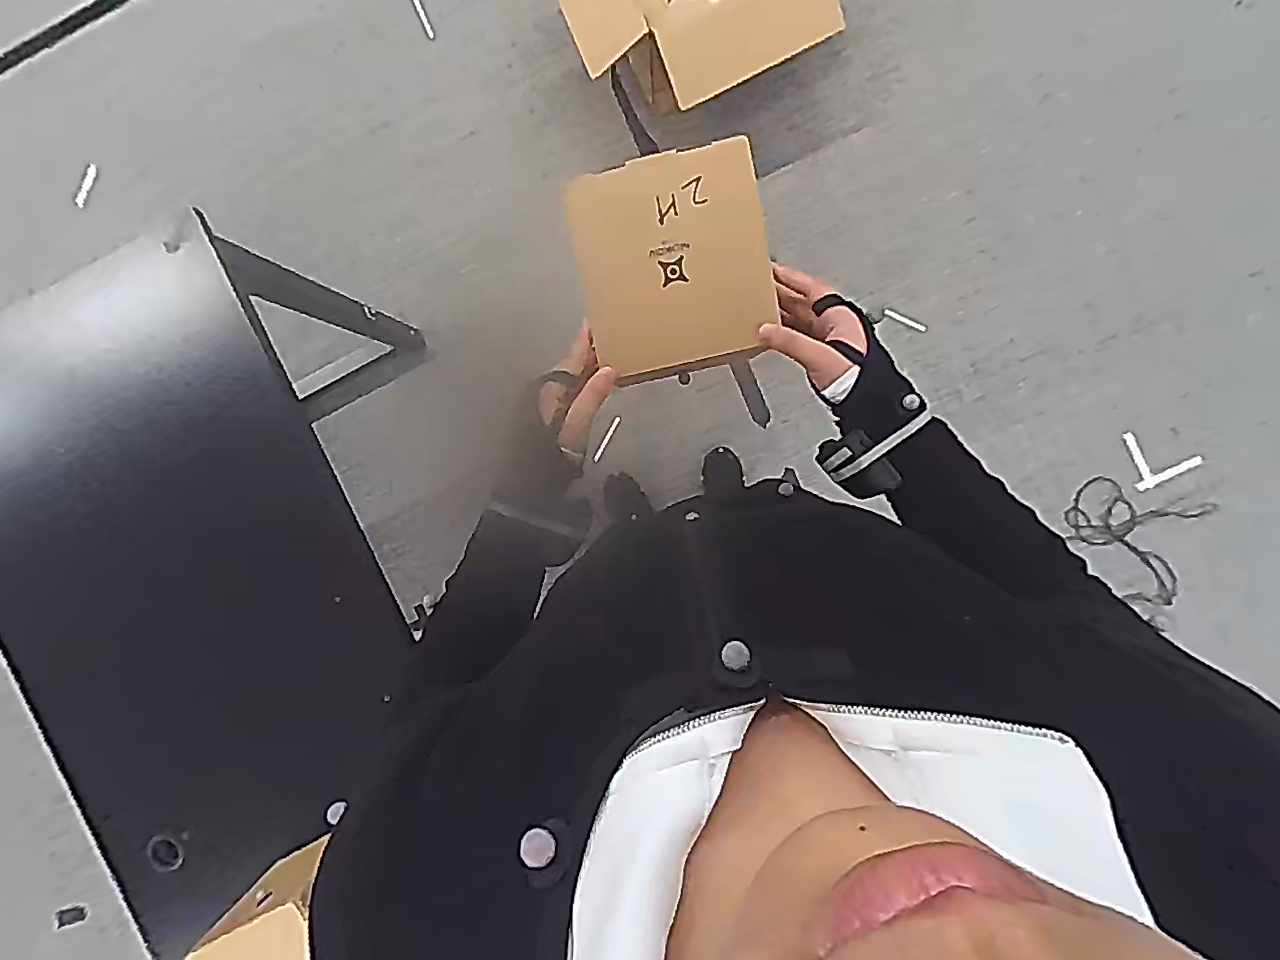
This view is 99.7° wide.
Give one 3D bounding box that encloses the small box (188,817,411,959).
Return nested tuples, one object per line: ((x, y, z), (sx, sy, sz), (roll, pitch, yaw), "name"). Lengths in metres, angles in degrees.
((-0.451, 0.619, 0.753), (0.179, 0.176, 0.168), (-30, 90, 6), "small box")

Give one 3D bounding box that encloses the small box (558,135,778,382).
((0.029, -0.199, 0.543), (0.168, 0.176, 0.179), (-12, 97, 4), "small box")
